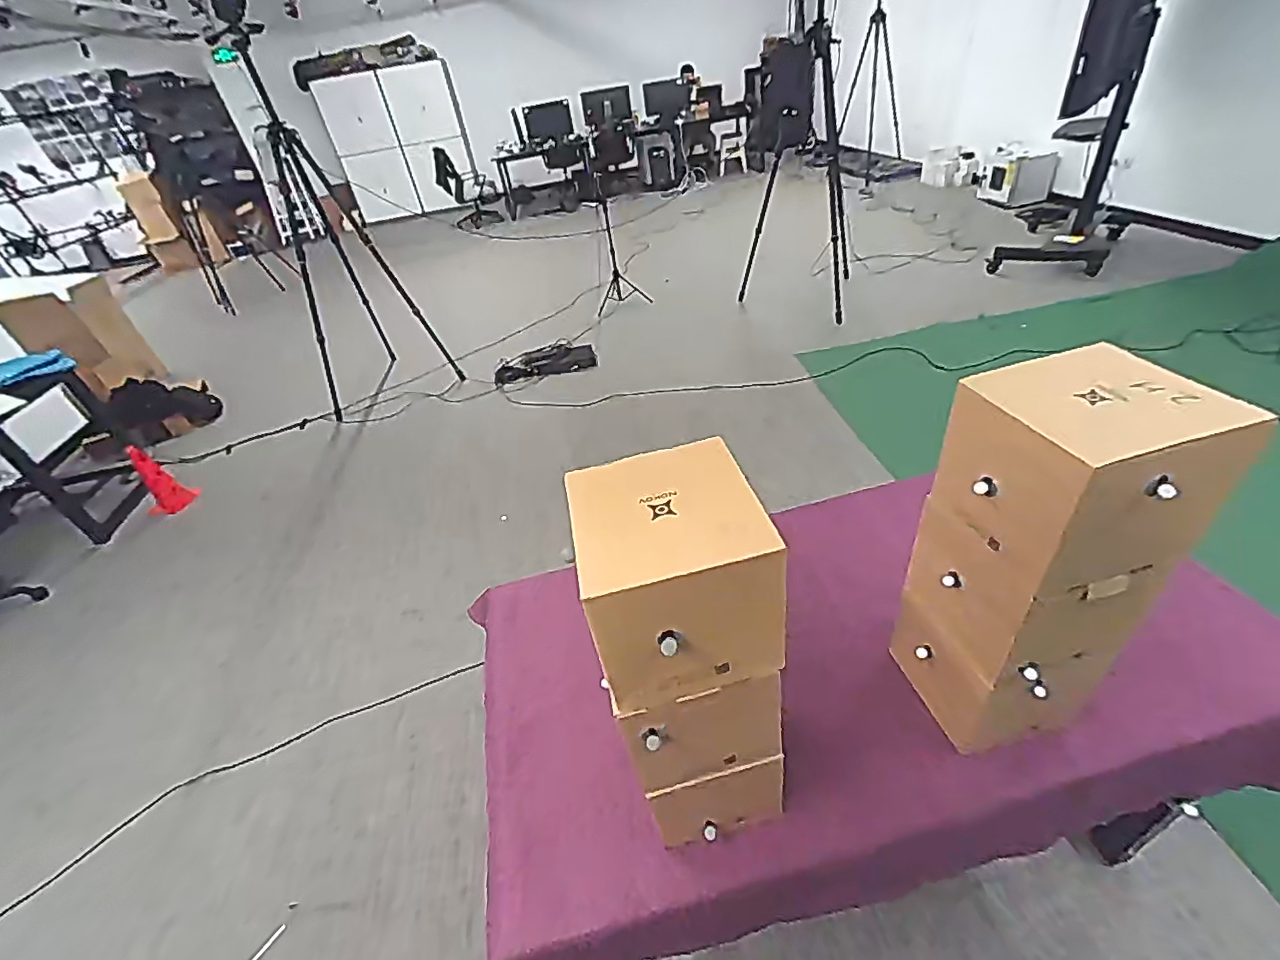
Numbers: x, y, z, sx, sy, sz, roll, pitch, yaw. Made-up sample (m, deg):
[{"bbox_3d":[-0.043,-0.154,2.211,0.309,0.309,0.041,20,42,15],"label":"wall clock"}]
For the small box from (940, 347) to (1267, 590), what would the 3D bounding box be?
[{"bbox_3d":[0.440,-0.011,0.557,0.179,0.176,0.168,-14,39,-4],"label":"small box"}]

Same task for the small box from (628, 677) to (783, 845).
[{"bbox_3d":[0.080,0.349,0.728,0.168,0.176,0.179,-14,39,-3],"label":"small box"}]

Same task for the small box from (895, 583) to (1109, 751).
[{"bbox_3d":[0.485,0.242,0.762,0.168,0.176,0.179,-15,37,-3],"label":"small box"}]

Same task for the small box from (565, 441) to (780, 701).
[{"bbox_3d":[0.031,0.092,0.531,0.168,0.176,0.179,-14,36,-3],"label":"small box"}]

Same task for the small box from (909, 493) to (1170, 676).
[{"bbox_3d":[0.462,0.114,0.662,0.168,0.176,0.179,-15,37,-5],"label":"small box"}]
